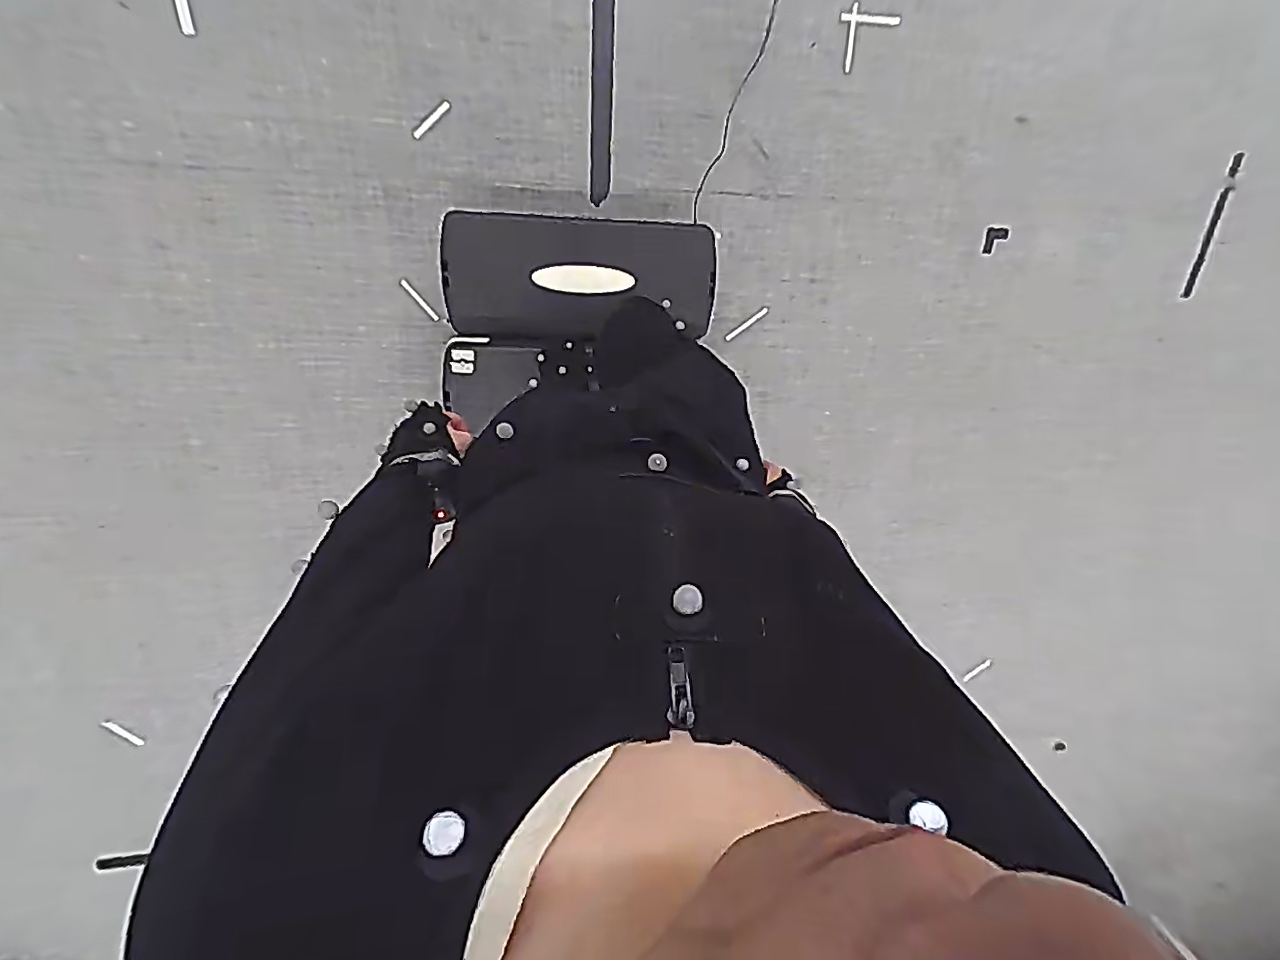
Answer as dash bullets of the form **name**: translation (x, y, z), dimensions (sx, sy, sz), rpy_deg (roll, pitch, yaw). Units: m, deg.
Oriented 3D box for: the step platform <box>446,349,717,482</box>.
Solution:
- **step platform**: translation (-0.144, -0.164, 1.410), dimensions (0.684, 0.204, 0.286), rpy_deg (3, 107, -9)
